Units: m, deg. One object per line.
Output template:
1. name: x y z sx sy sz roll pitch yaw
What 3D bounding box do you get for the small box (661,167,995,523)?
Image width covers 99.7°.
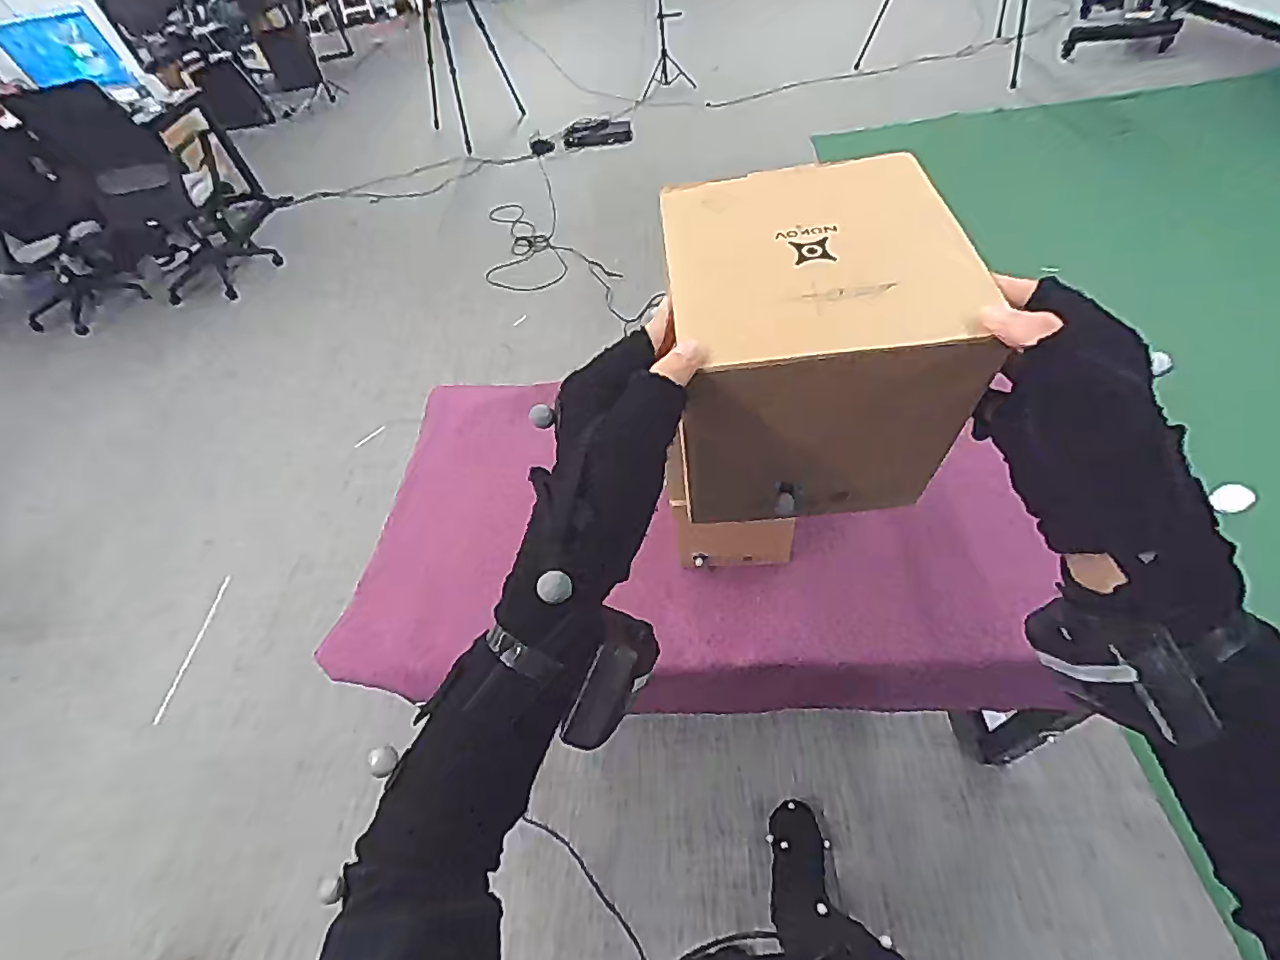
1. small box: 0.104 -0.088 0.388 0.168 0.176 0.179 -5 57 5

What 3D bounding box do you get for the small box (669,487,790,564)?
1. small box: 0.134 0.017 0.817 0.168 0.176 0.179 -3 50 7

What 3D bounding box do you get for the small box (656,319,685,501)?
1. small box: 0.112 -0.093 0.697 0.168 0.176 0.179 -4 51 7
